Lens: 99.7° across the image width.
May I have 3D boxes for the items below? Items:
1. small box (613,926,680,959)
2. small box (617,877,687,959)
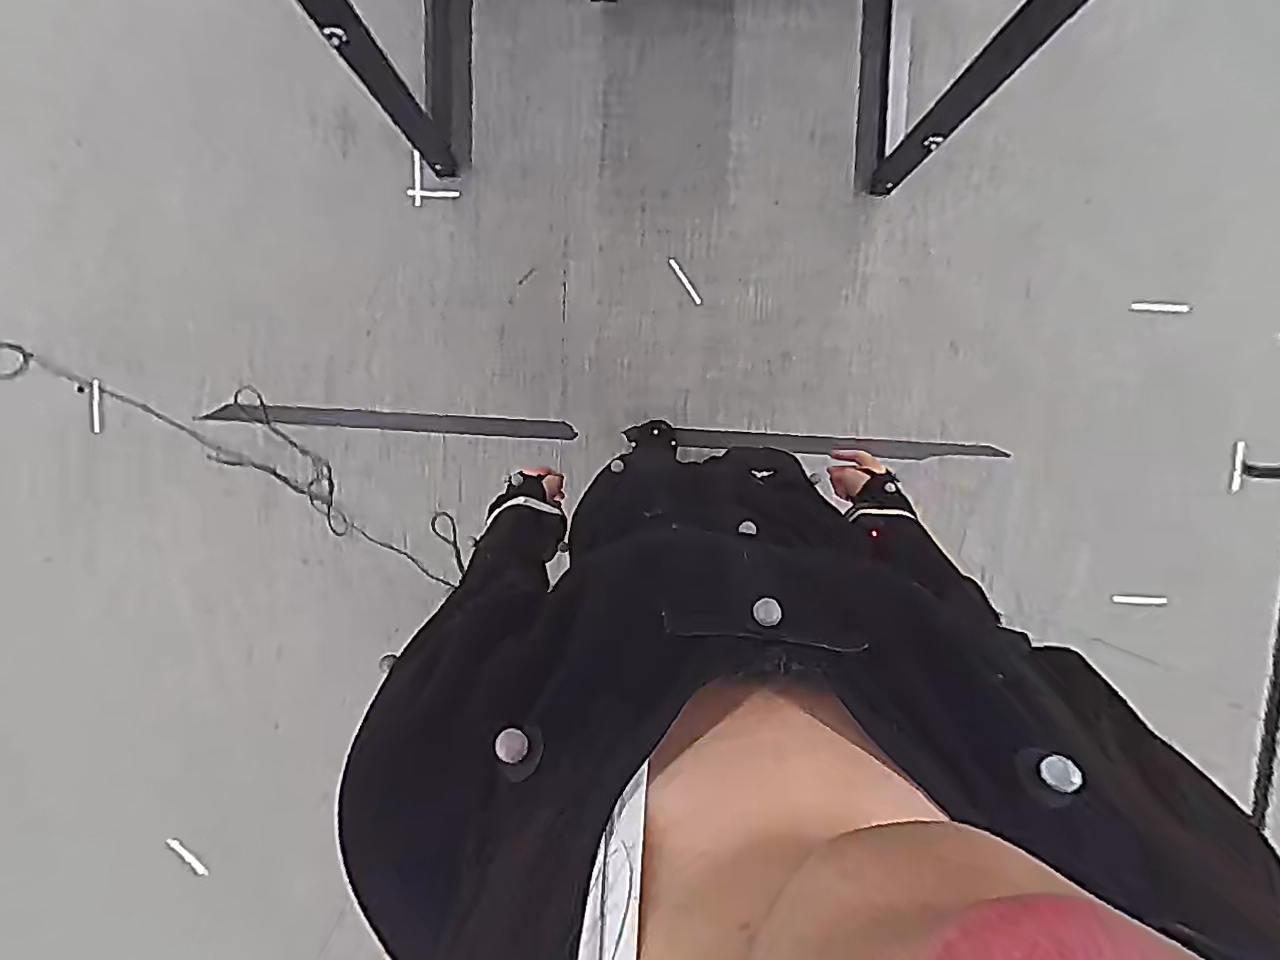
[{"bbox_3d":[0.027,1.272,1.343,0.168,0.176,0.179,-11,95,-1],"label":"small box"},{"bbox_3d":[0.032,1.250,1.506,0.168,0.176,0.179,-12,95,0],"label":"small box"}]
